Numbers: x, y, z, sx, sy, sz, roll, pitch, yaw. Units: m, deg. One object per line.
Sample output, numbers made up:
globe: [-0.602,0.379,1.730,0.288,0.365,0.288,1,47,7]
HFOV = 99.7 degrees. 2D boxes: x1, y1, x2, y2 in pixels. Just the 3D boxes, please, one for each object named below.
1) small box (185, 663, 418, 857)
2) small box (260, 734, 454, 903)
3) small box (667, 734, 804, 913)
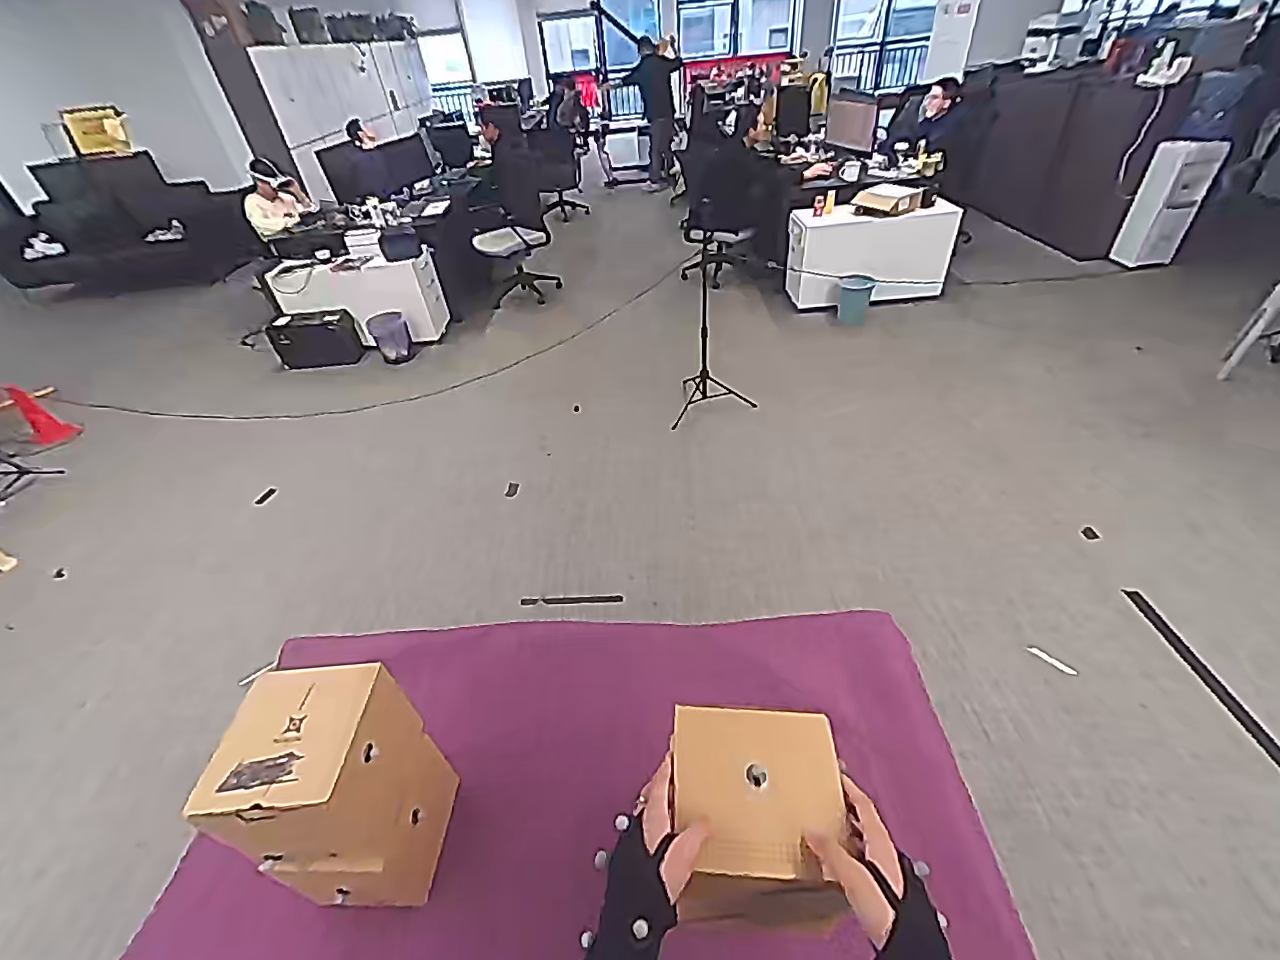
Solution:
small box: [-0.410,0.364,0.698,0.168,0.176,0.179,-5,39,1]
small box: [-0.393,0.496,0.794,0.168,0.176,0.179,-2,40,4]
small box: [0.125,0.478,0.754,0.168,0.176,0.179,-3,39,5]
